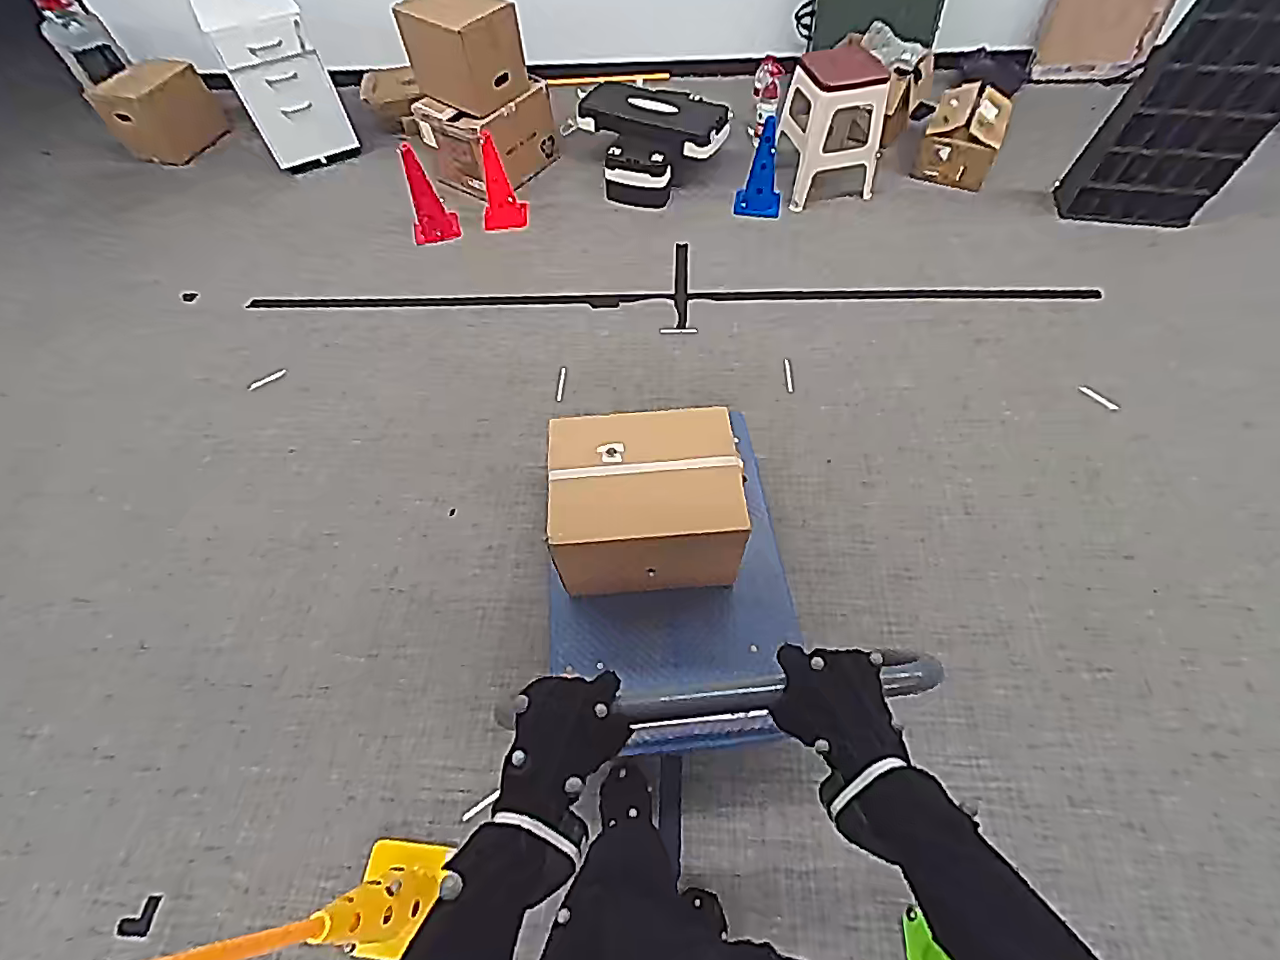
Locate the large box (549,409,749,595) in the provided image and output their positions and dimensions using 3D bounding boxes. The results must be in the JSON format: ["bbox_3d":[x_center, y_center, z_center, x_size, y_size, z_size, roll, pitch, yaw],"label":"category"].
[{"bbox_3d":[0.015,0.063,1.268,0.408,0.320,0.320,-5,59,0],"label":"large box"}]

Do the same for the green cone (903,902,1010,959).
[{"bbox_3d":[0.623,0.868,0.909,0.202,0.368,0.200,5,58,4],"label":"green cone"}]
